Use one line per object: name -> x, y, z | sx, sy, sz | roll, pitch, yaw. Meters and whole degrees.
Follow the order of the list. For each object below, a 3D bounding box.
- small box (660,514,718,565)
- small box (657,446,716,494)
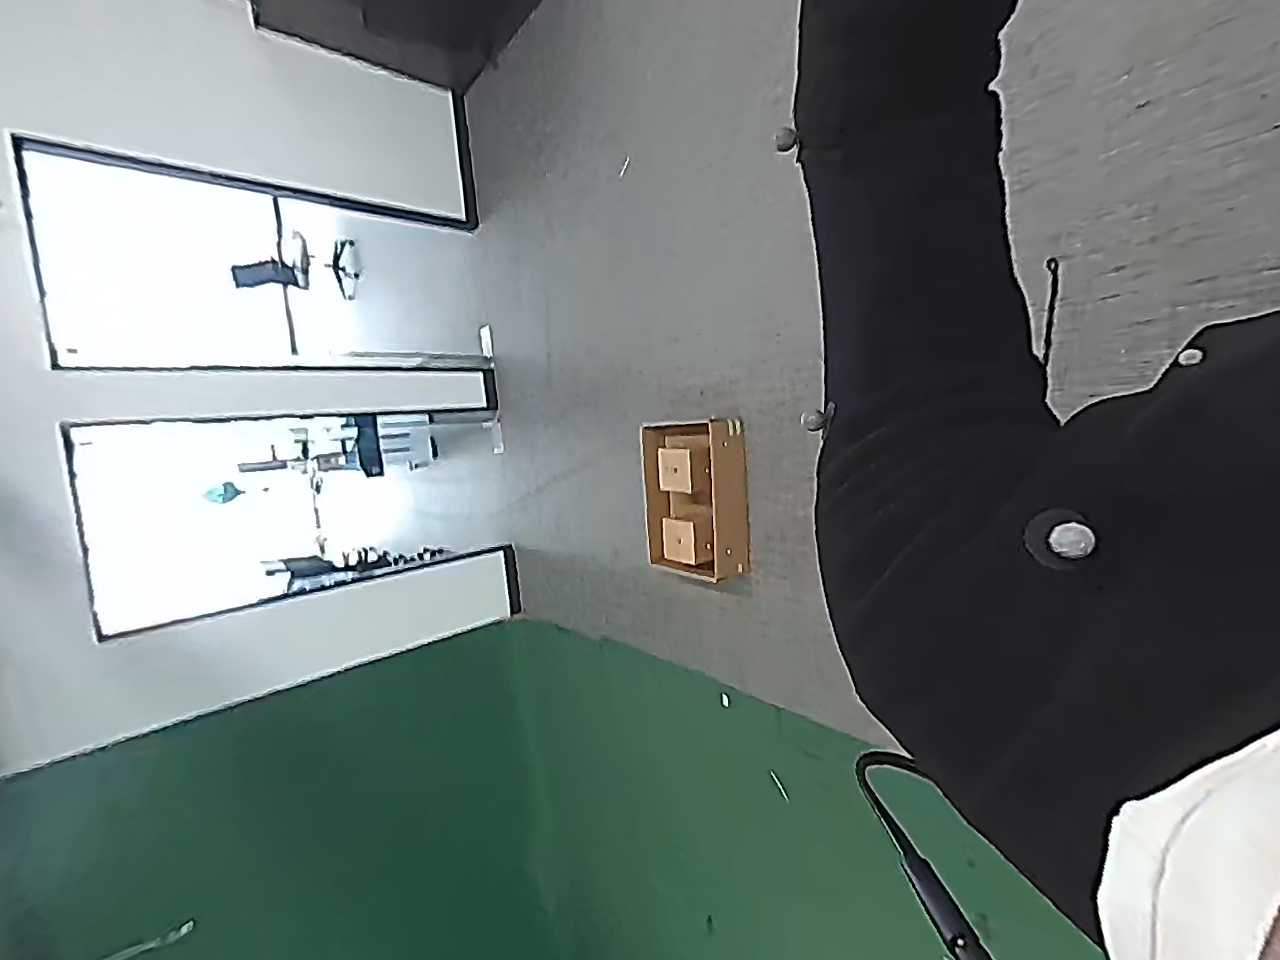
small box -> 0.202, 0.234, 2.177 | 0.179, 0.176, 0.168 | 5, 99, 50
small box -> 0.187, -0.046, 2.145 | 0.179, 0.176, 0.168 | 7, 102, 49
